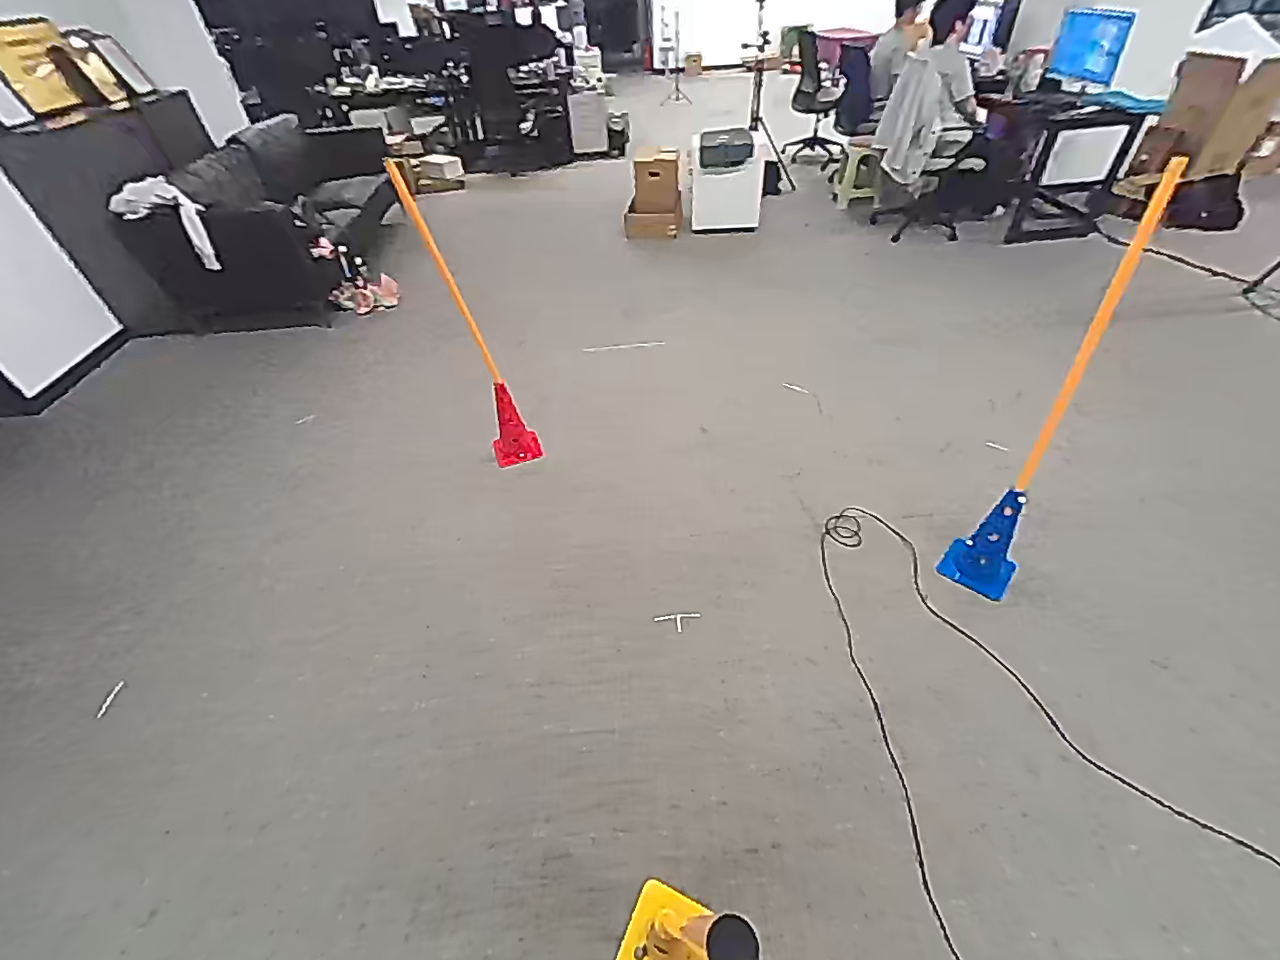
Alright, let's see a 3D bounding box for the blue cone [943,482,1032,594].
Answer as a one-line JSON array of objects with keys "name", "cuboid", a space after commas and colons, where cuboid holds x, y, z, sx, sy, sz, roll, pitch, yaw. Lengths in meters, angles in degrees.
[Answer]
[{"name": "blue cone", "cuboid": [1.117, 0.156, 1.692, 0.192, 0.380, 0.193, 28, 49, 31]}]
